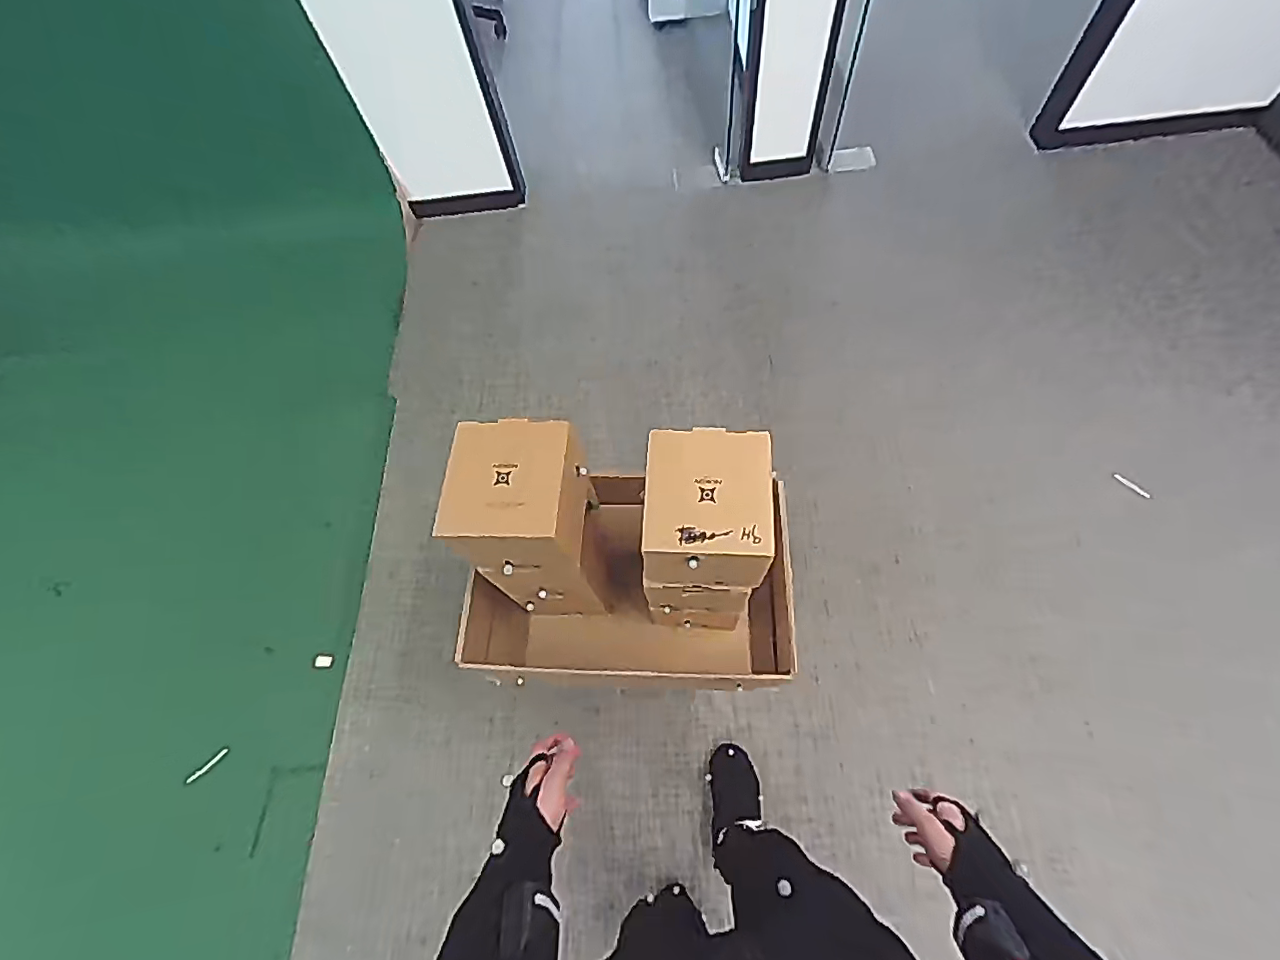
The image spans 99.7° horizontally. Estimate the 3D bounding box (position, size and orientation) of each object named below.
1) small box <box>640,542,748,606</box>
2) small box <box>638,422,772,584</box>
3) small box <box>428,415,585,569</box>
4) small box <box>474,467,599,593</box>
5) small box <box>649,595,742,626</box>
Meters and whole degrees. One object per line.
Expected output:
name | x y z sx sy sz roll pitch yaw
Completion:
small box | 0.094 0.110 0.910 0.168 0.176 0.179 2 65 6
small box | 0.091 0.036 0.763 0.168 0.176 0.179 1 66 6
small box | -0.181 0.021 0.795 0.168 0.176 0.179 0 65 7
small box | -0.168 0.090 0.943 0.168 0.176 0.179 -1 65 6
small box | 0.109 0.179 1.058 0.168 0.176 0.179 1 66 6
